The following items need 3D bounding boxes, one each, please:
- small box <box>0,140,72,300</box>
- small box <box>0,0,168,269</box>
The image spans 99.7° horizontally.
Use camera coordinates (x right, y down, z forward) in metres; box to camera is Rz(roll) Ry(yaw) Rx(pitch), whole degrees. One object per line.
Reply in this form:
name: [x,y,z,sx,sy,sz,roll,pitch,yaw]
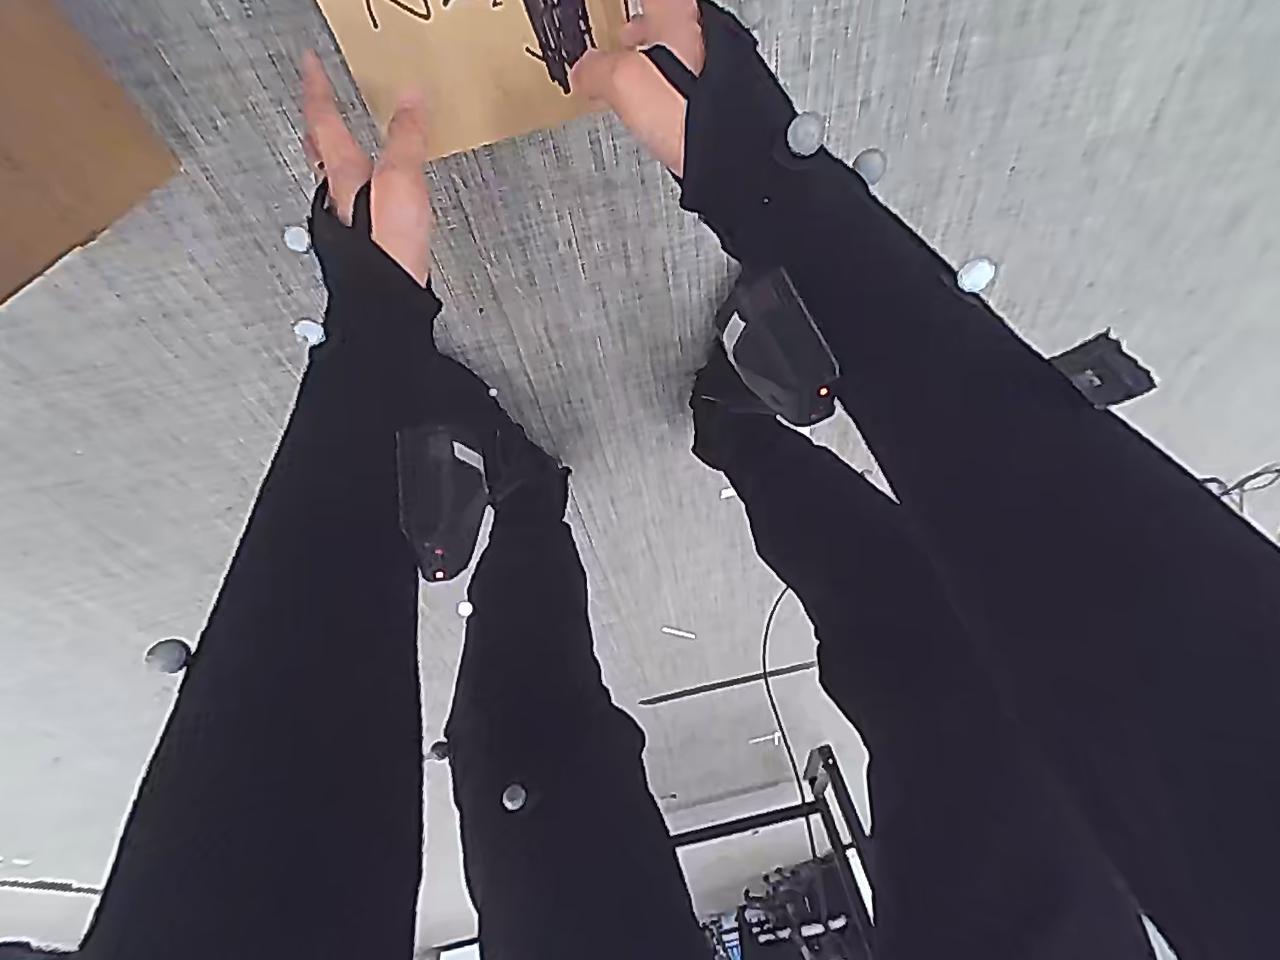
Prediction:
small box: [-0.445,-0.131,0.247,0.179,0.176,0.168,-16,138,3]
small box: [-0.487,-0.243,0.360,0.168,0.176,0.179,-16,138,2]
